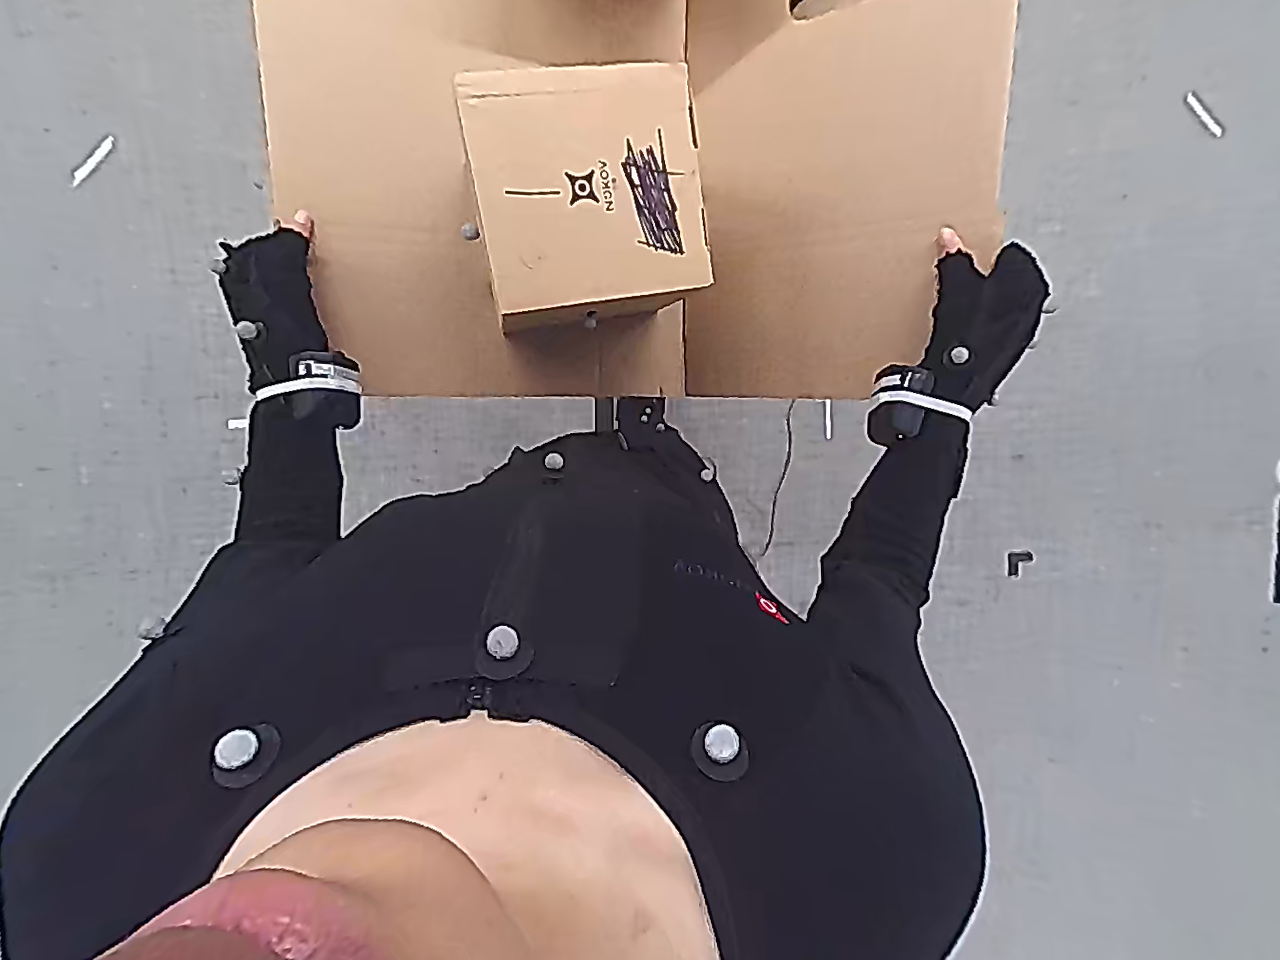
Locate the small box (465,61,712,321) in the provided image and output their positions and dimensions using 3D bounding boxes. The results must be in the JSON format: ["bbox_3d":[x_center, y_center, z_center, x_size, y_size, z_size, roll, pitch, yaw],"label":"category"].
[{"bbox_3d":[-0.052,-0.246,0.497,0.179,0.176,0.168,-11,102,-11],"label":"small box"}]
